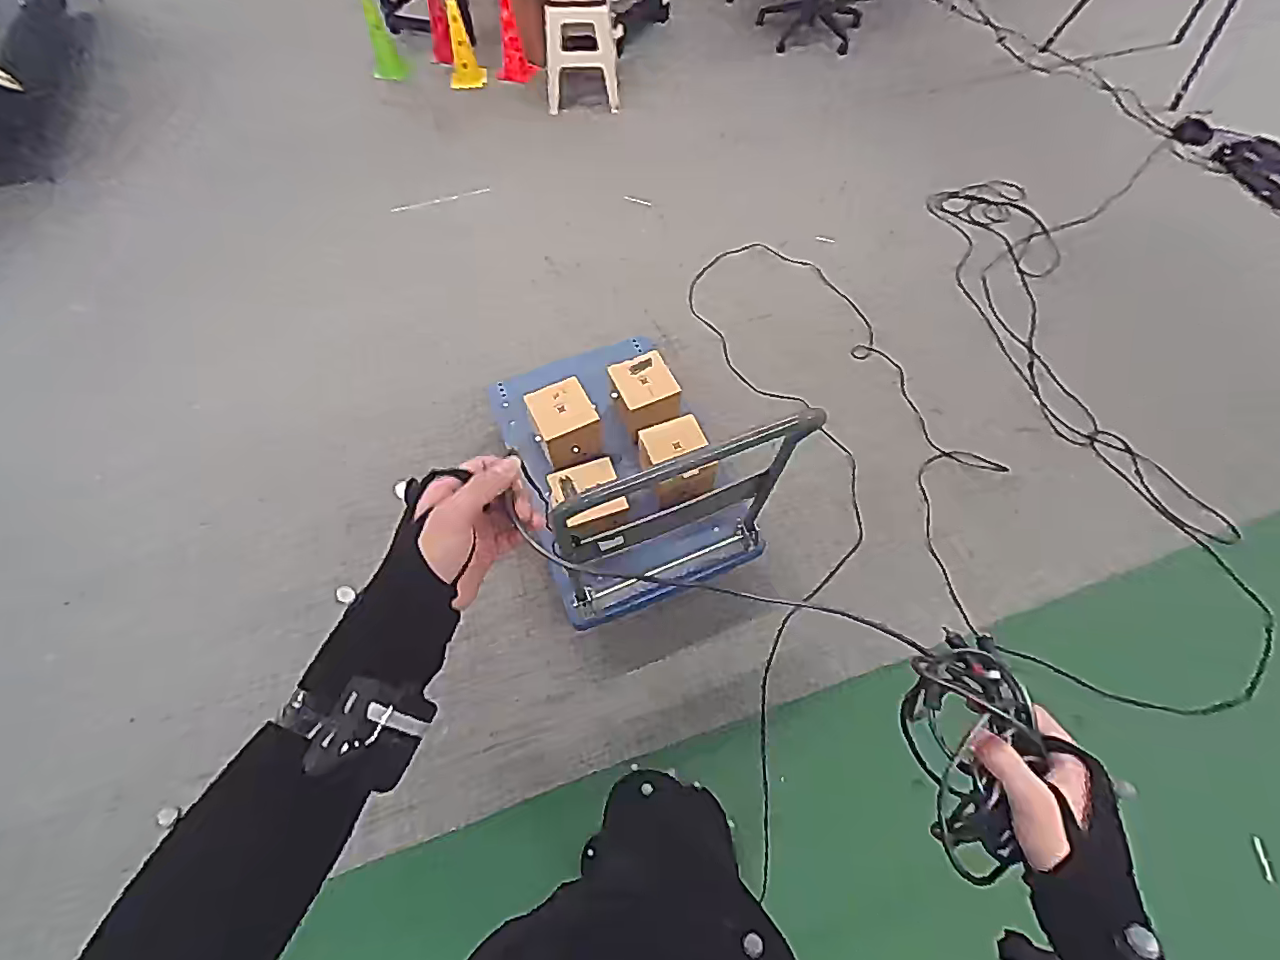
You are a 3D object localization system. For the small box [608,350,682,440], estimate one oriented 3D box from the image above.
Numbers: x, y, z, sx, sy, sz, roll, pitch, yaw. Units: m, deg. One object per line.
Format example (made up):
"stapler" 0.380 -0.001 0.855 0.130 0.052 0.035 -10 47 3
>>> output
"small box" 0.012 -0.253 1.632 0.168 0.176 0.179 -22 64 -11

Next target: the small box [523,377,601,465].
"small box" -0.222 -0.164 1.585 0.168 0.176 0.179 -24 64 -13

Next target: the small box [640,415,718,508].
"small box" 0.102 -0.048 1.521 0.168 0.176 0.179 -19 63 -9
